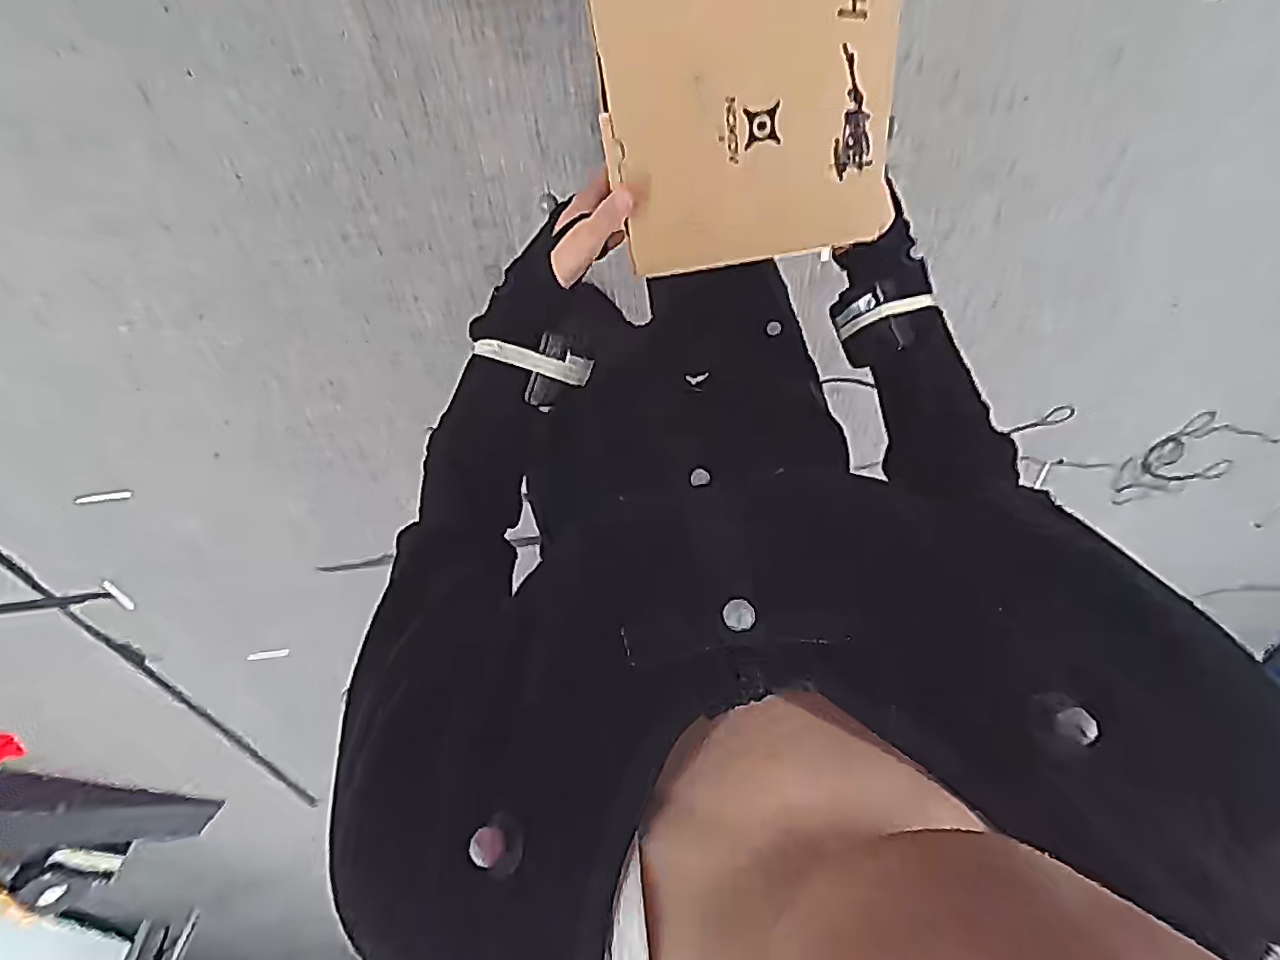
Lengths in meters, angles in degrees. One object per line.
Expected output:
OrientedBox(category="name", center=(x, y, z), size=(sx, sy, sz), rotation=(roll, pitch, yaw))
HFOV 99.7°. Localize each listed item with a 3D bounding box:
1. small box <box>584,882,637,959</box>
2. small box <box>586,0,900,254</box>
OrientedBox(category="small box", center=(-0.105, 1.540, 1.893), size=(0.179, 0.176, 0.168), rotation=(-5, 129, -4))
OrientedBox(category="small box", center=(0.070, -0.283, 0.396), size=(0.179, 0.176, 0.168), rotation=(-6, 128, 8))
